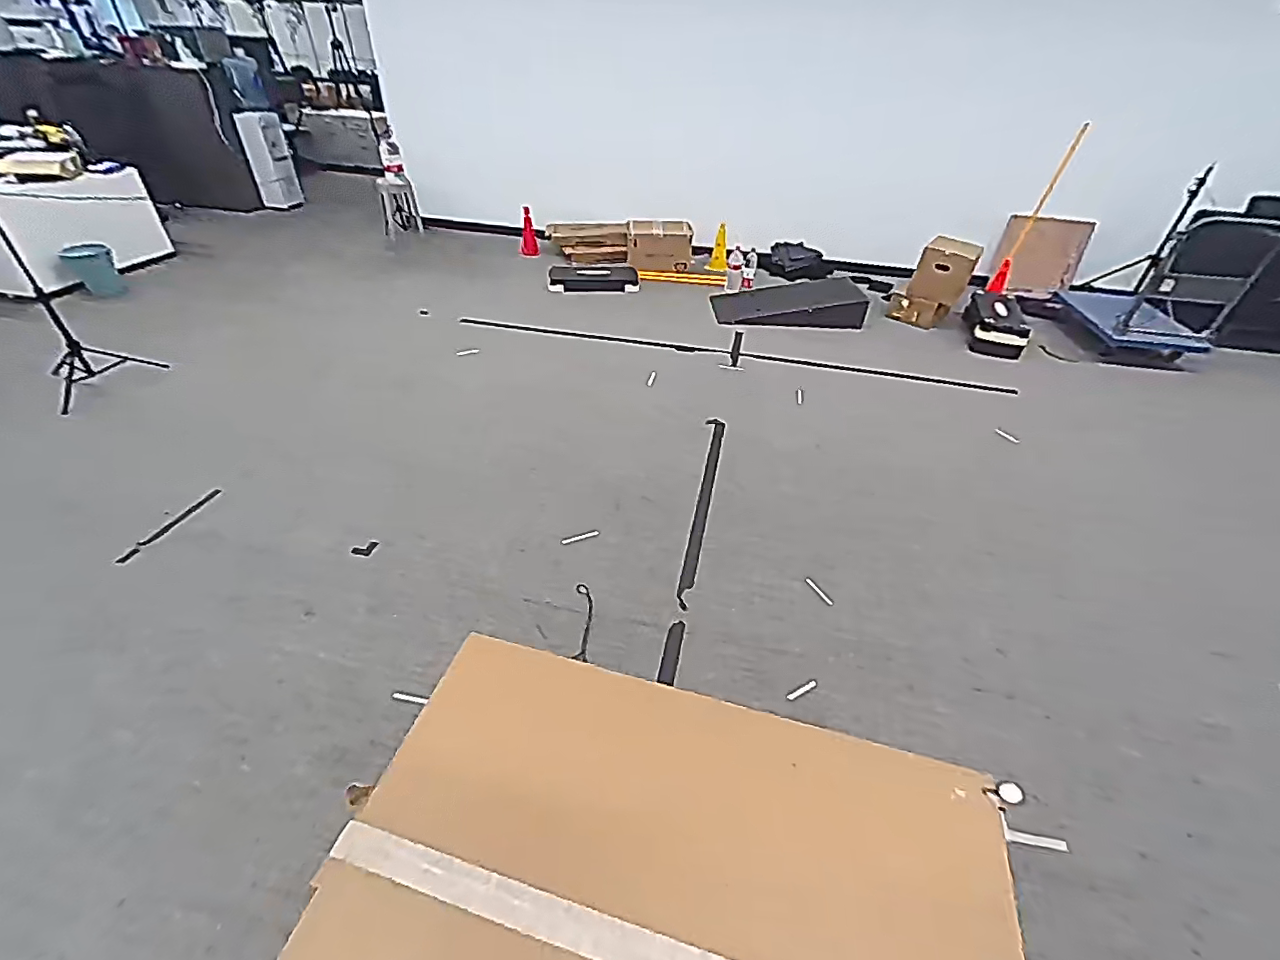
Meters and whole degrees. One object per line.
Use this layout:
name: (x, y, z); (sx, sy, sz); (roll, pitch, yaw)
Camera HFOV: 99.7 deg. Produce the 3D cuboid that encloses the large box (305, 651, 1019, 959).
large box: (0.010, 0.386, 0.414); (0.408, 0.320, 0.320); (11, 45, 11)
